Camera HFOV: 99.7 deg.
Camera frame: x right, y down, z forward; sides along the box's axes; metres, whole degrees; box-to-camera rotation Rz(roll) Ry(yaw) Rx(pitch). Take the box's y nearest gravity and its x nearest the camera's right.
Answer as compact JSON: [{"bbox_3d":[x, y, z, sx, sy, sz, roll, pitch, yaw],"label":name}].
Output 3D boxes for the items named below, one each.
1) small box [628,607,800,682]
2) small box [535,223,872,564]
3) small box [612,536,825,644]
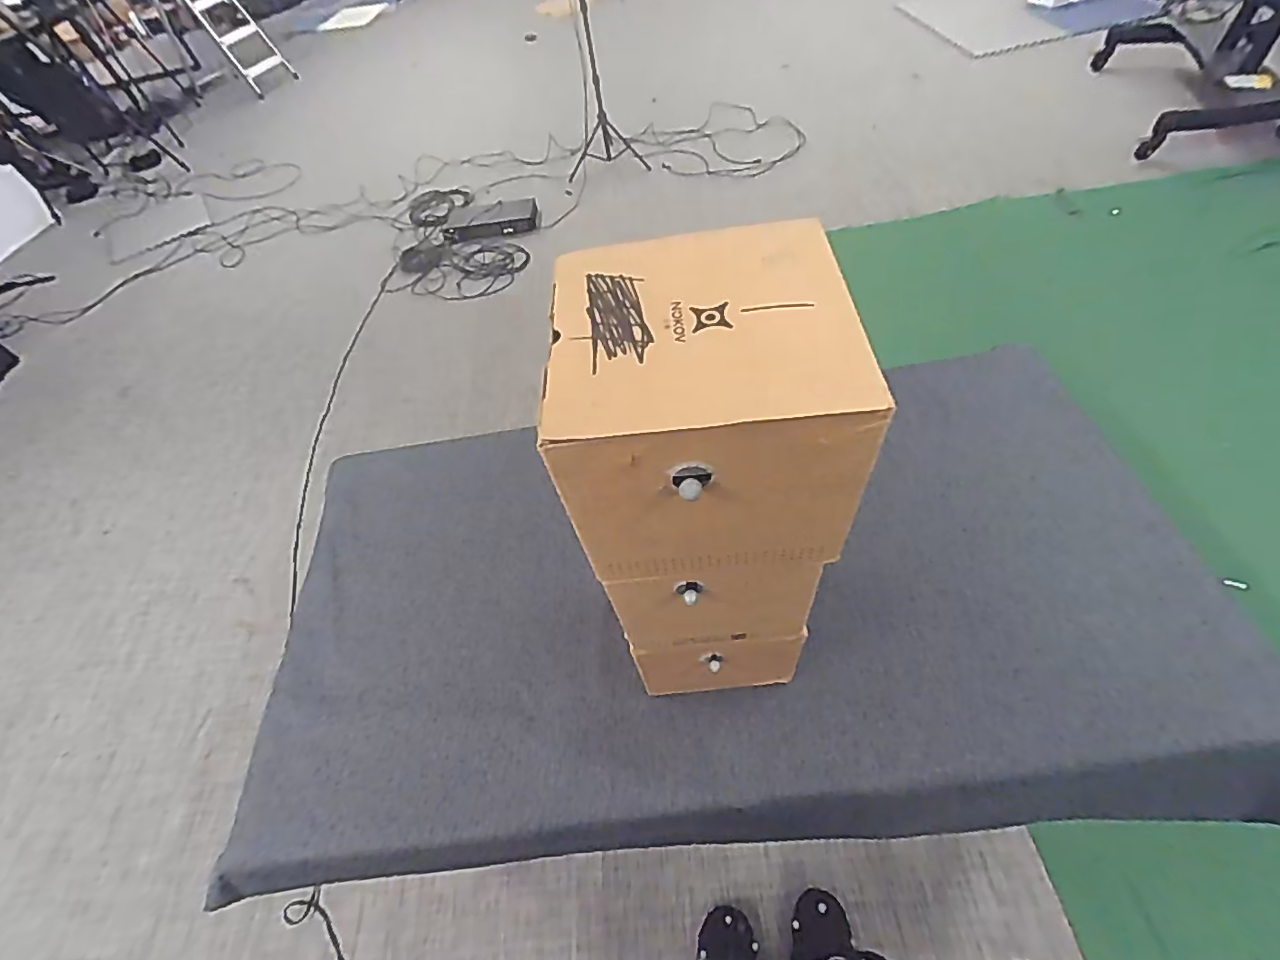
[{"bbox_3d":[0.081,0.135,0.652,0.179,0.176,0.168,-7,55,4],"label":"small box"},{"bbox_3d":[0.040,-0.050,0.384,0.179,0.176,0.168,-5,55,5],"label":"small box"},{"bbox_3d":[0.062,0.041,0.523,0.168,0.176,0.179,-8,55,3],"label":"small box"}]
